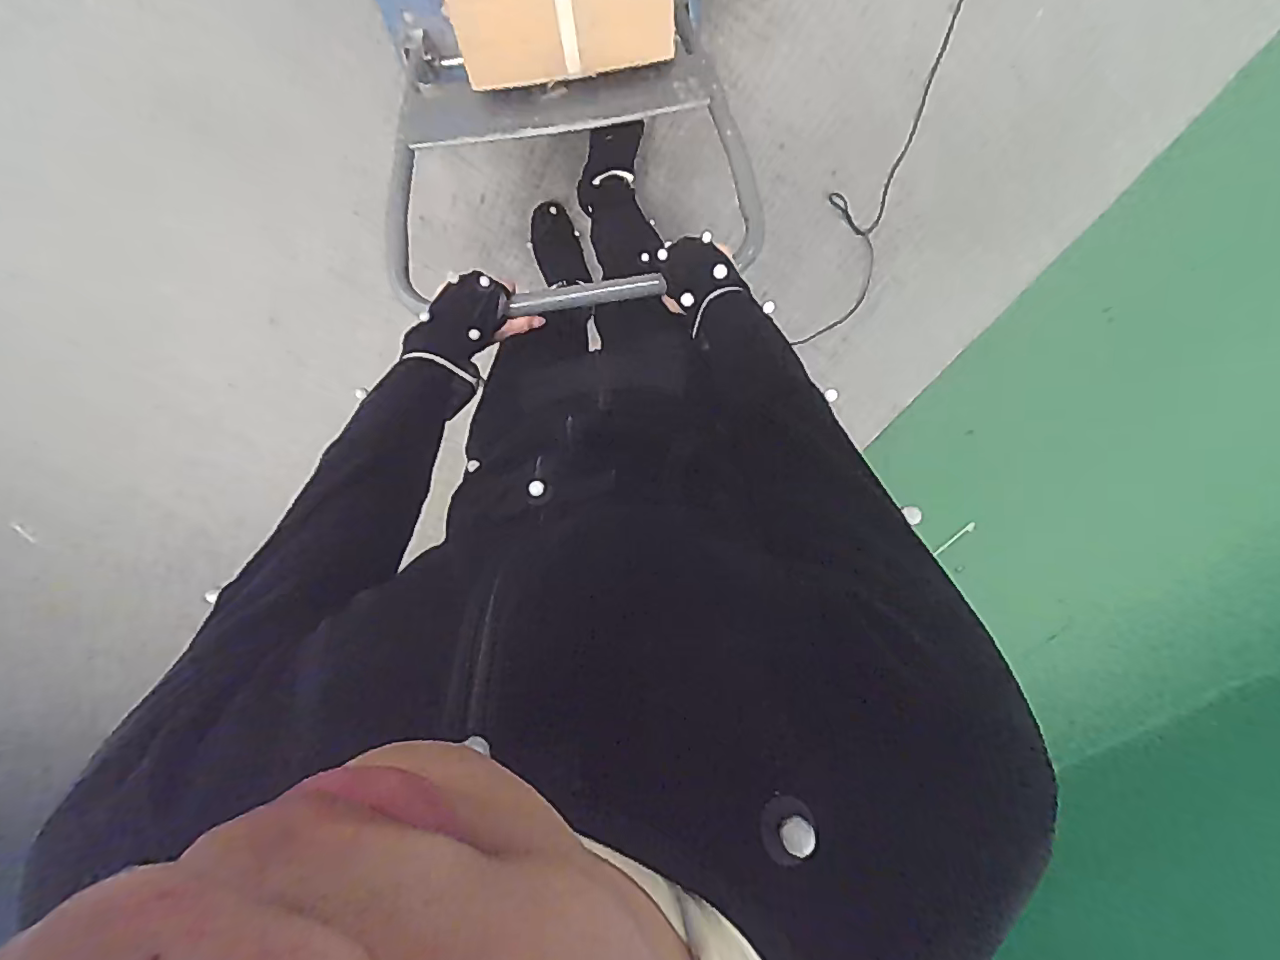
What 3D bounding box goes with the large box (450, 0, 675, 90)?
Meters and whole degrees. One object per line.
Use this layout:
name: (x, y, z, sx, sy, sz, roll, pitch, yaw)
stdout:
large box: (-0.134, -0.856, 0.753, 0.320, 0.320, 0.408, -9, 146, 1)
